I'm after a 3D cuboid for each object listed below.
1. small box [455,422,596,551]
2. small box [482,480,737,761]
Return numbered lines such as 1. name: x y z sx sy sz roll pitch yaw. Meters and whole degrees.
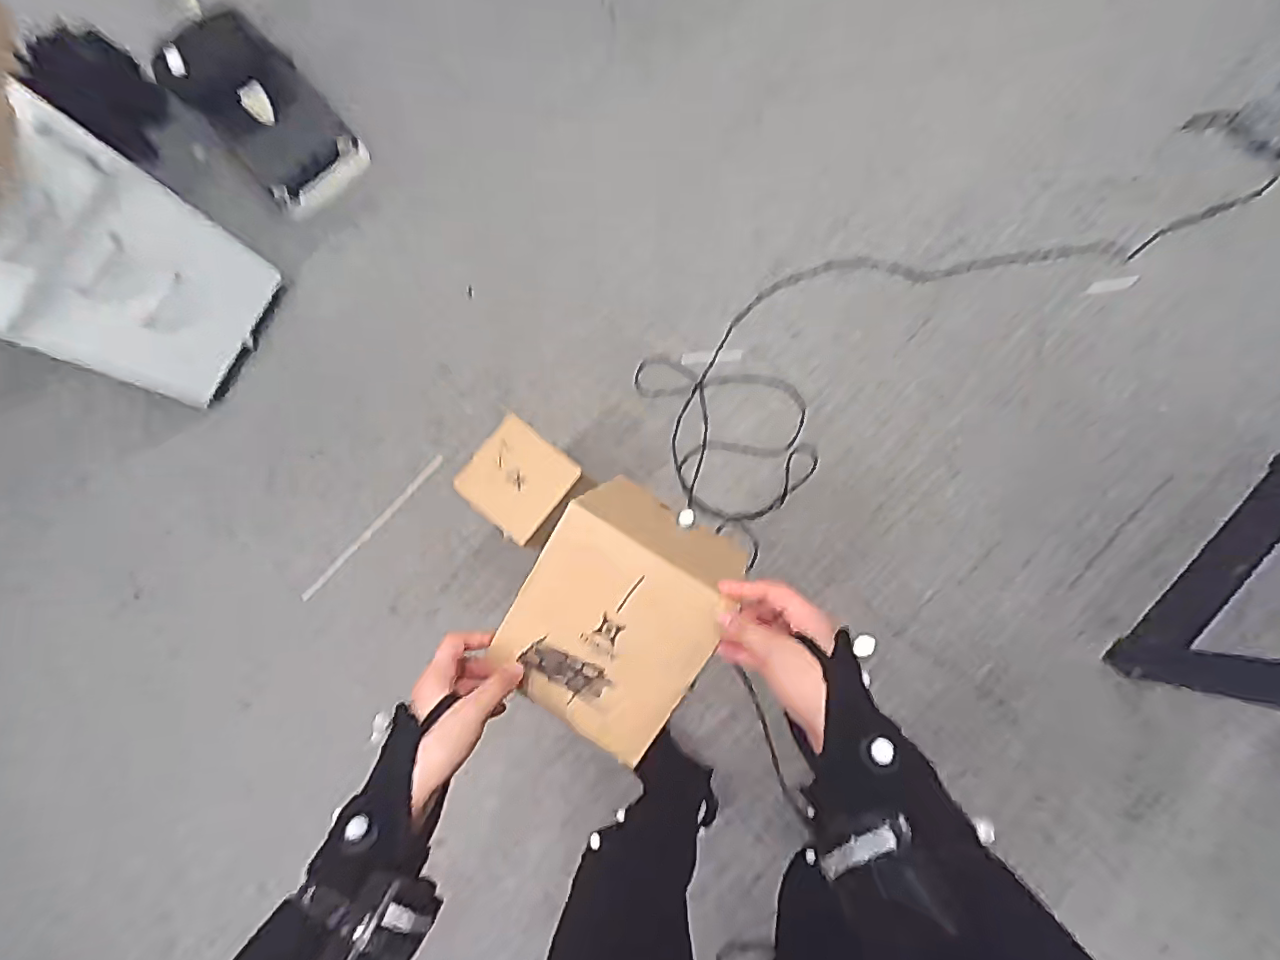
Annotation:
1. small box: -0.204 0.021 1.028 0.179 0.176 0.168 39 86 14
2. small box: -0.015 0.119 0.531 0.168 0.176 0.179 32 103 7
